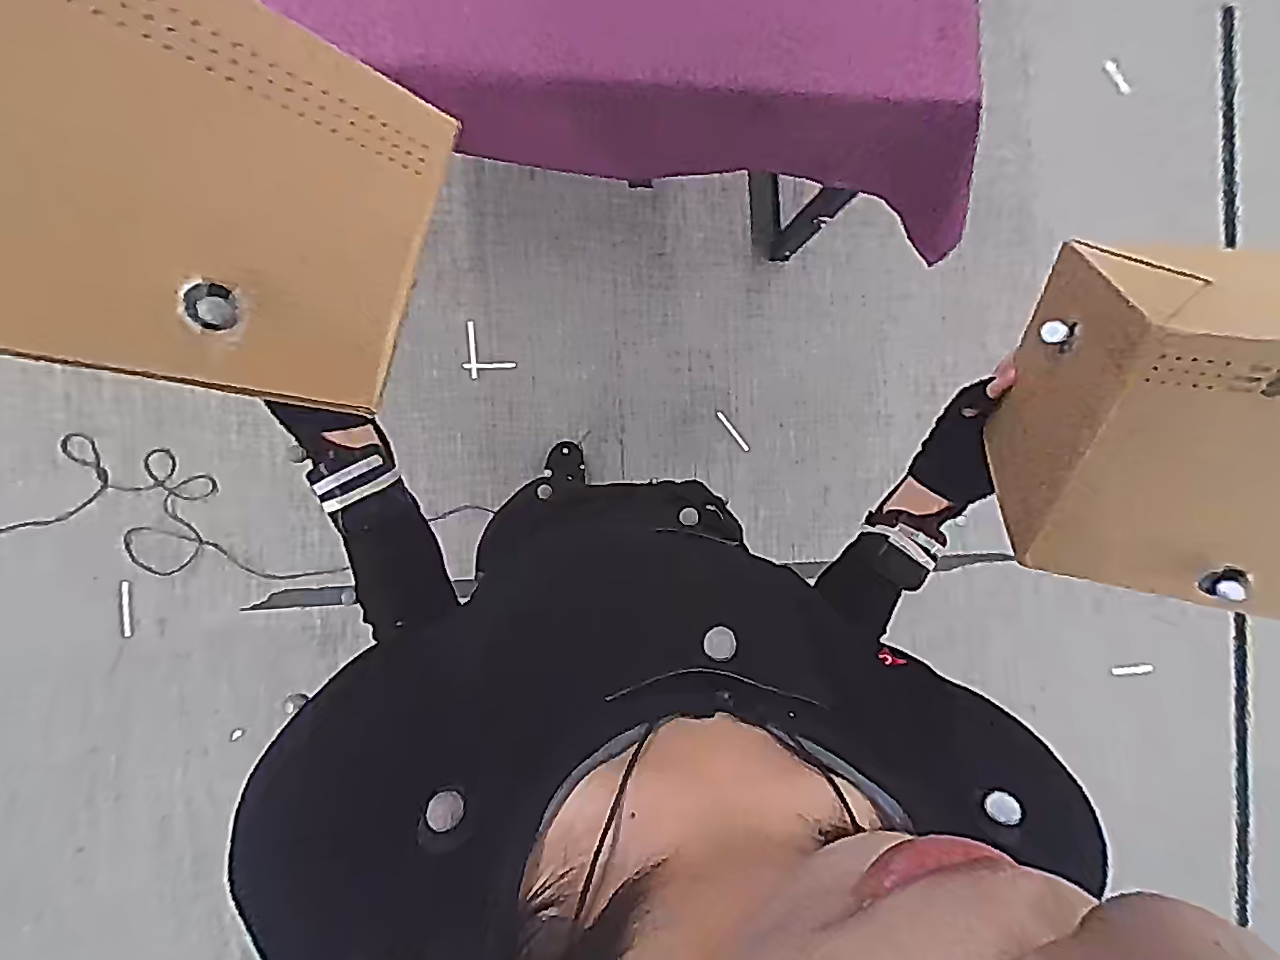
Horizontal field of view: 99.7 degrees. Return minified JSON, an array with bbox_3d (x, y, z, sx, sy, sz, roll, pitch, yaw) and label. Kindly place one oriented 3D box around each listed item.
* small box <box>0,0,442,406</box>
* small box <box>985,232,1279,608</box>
[{"bbox_3d":[-0.230,-0.161,0.287,0.179,0.168,0.176,10,109,-44],"label":"small box"},{"bbox_3d":[0.349,-0.051,0.341,0.168,0.179,0.176,11,130,17],"label":"small box"}]
